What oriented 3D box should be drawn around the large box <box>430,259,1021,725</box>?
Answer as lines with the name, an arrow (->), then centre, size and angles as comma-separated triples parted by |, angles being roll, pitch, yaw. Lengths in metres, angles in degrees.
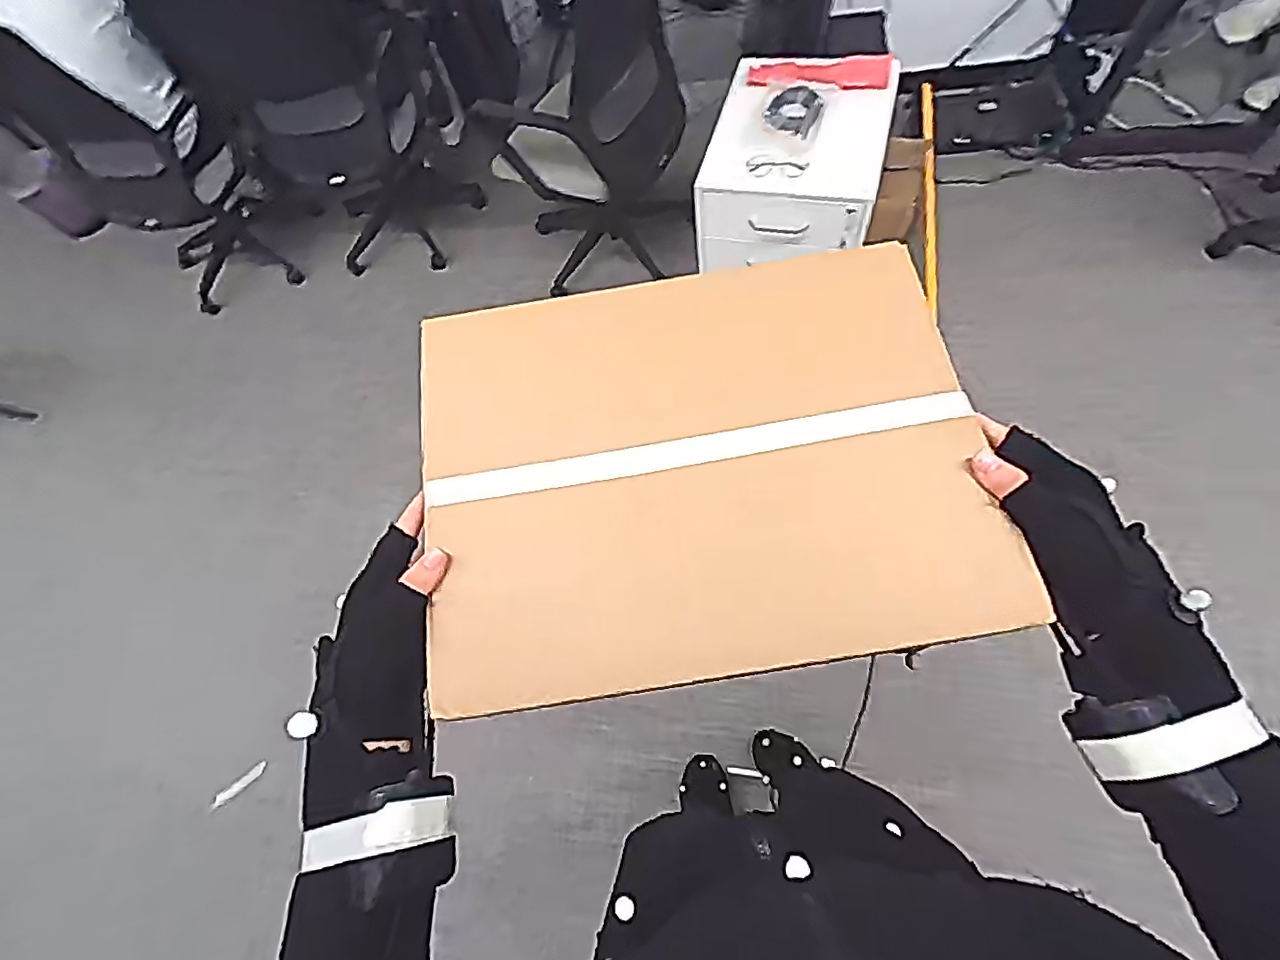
large box -> 0.051, 0.035, 0.553 | 0.408, 0.320, 0.320 | -10, 70, 1
